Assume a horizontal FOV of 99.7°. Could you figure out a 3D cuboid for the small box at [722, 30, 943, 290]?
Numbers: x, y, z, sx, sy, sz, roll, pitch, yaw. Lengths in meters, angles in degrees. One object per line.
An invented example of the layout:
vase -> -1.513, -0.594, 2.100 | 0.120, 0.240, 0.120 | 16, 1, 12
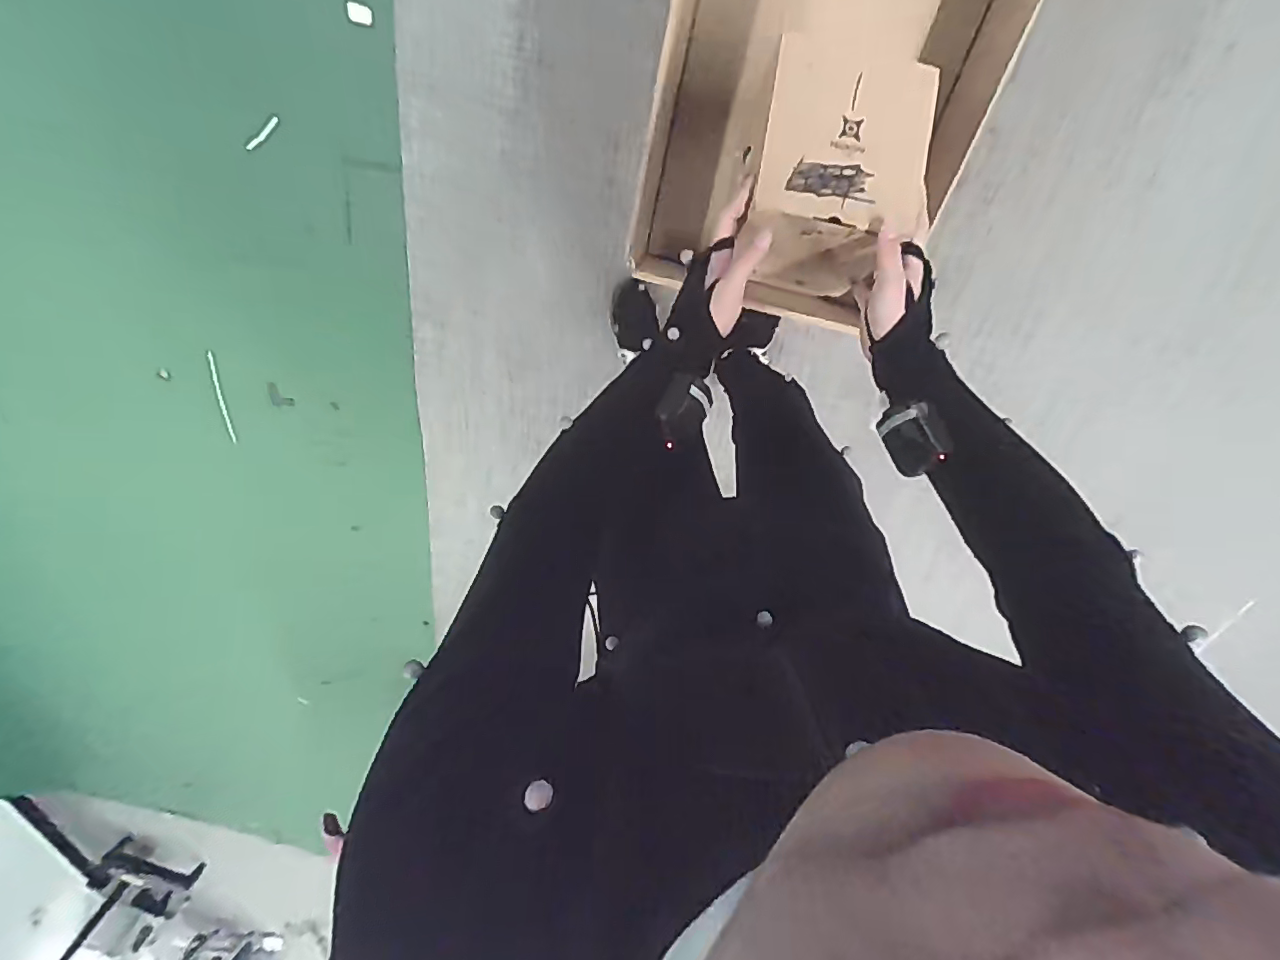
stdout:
small box -> 0.194, -0.329, 0.596 | 0.168, 0.176, 0.179 | 9, 89, -4
